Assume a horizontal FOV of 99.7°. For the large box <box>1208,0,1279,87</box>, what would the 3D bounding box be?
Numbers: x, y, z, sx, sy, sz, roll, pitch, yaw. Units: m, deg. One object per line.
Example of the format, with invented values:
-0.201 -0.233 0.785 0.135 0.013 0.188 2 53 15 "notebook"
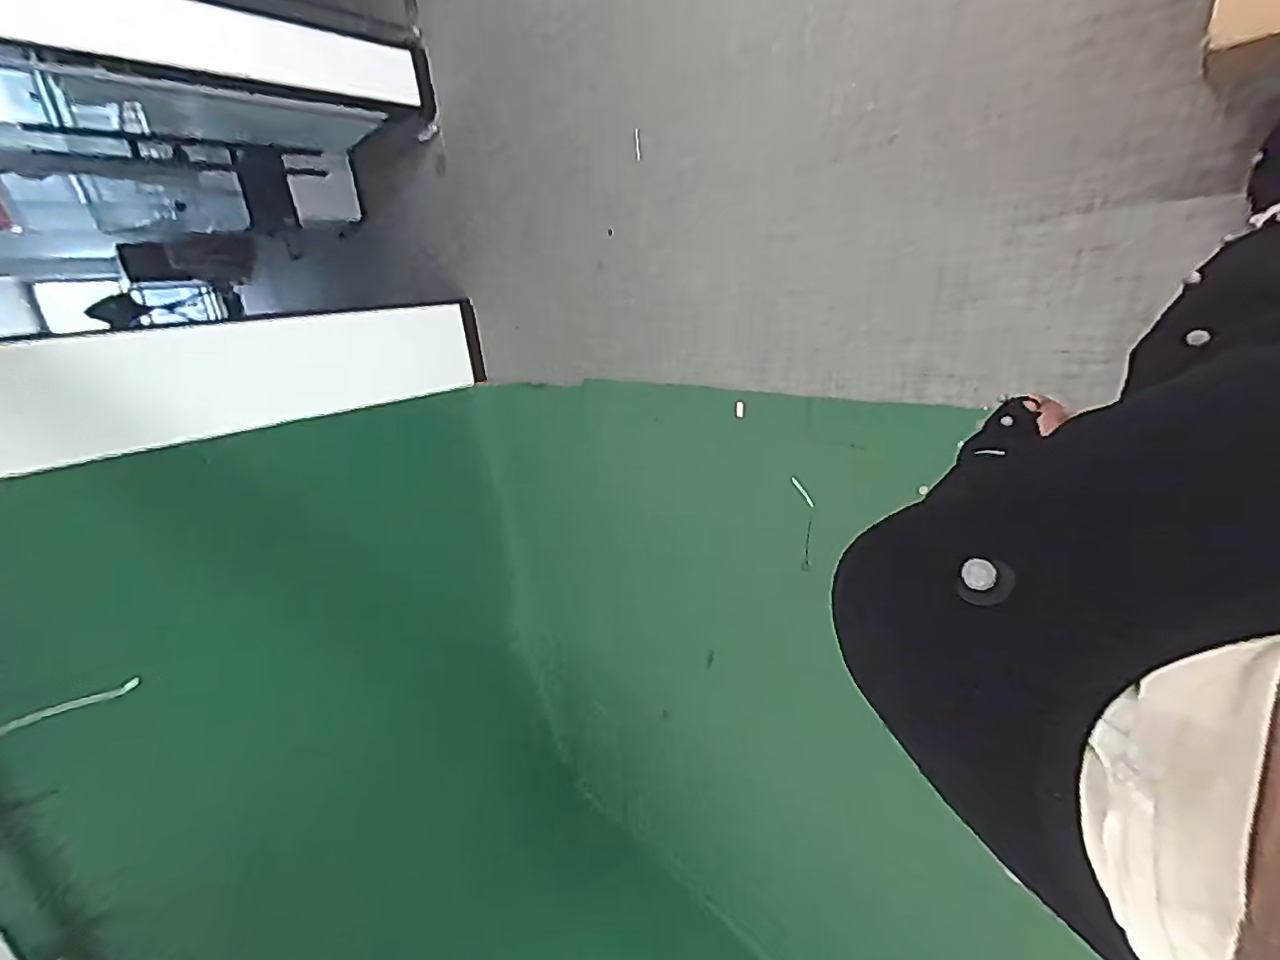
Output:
1.110 -0.819 0.751 0.408 0.320 0.320 12 114 45 "large box"
